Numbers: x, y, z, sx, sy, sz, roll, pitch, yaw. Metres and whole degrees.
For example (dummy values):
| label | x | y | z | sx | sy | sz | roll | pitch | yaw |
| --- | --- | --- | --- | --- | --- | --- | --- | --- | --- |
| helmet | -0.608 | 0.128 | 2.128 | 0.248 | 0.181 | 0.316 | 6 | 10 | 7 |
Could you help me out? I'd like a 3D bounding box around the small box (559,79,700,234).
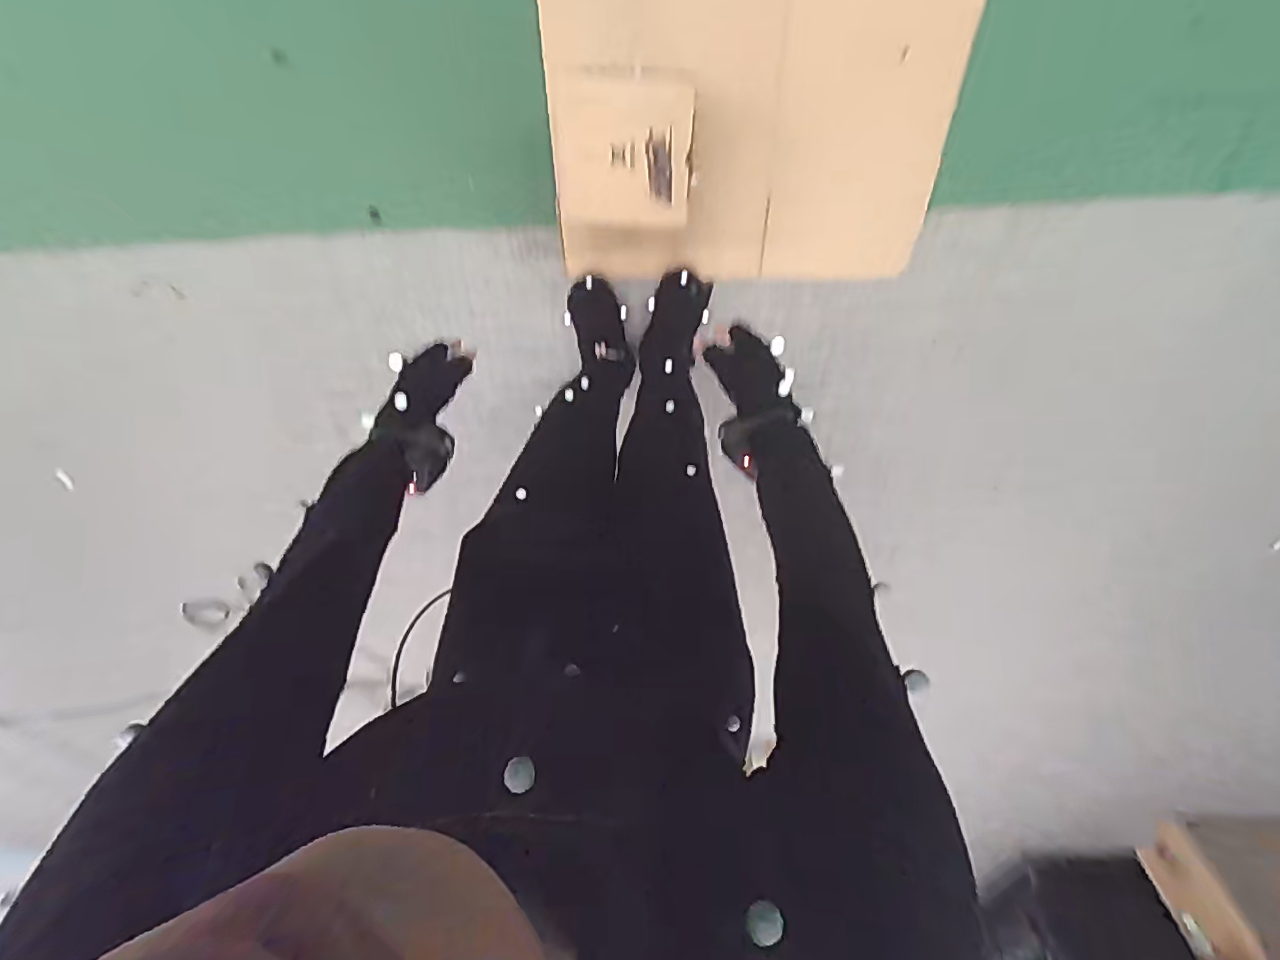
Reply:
| label | x | y | z | sx | sy | sz | roll | pitch | yaw |
| --- | --- | --- | --- | --- | --- | --- | --- | --- | --- |
| small box | -0.011 | -0.462 | 0.767 | 0.179 | 0.176 | 0.168 | 4 | 128 | 2 |
